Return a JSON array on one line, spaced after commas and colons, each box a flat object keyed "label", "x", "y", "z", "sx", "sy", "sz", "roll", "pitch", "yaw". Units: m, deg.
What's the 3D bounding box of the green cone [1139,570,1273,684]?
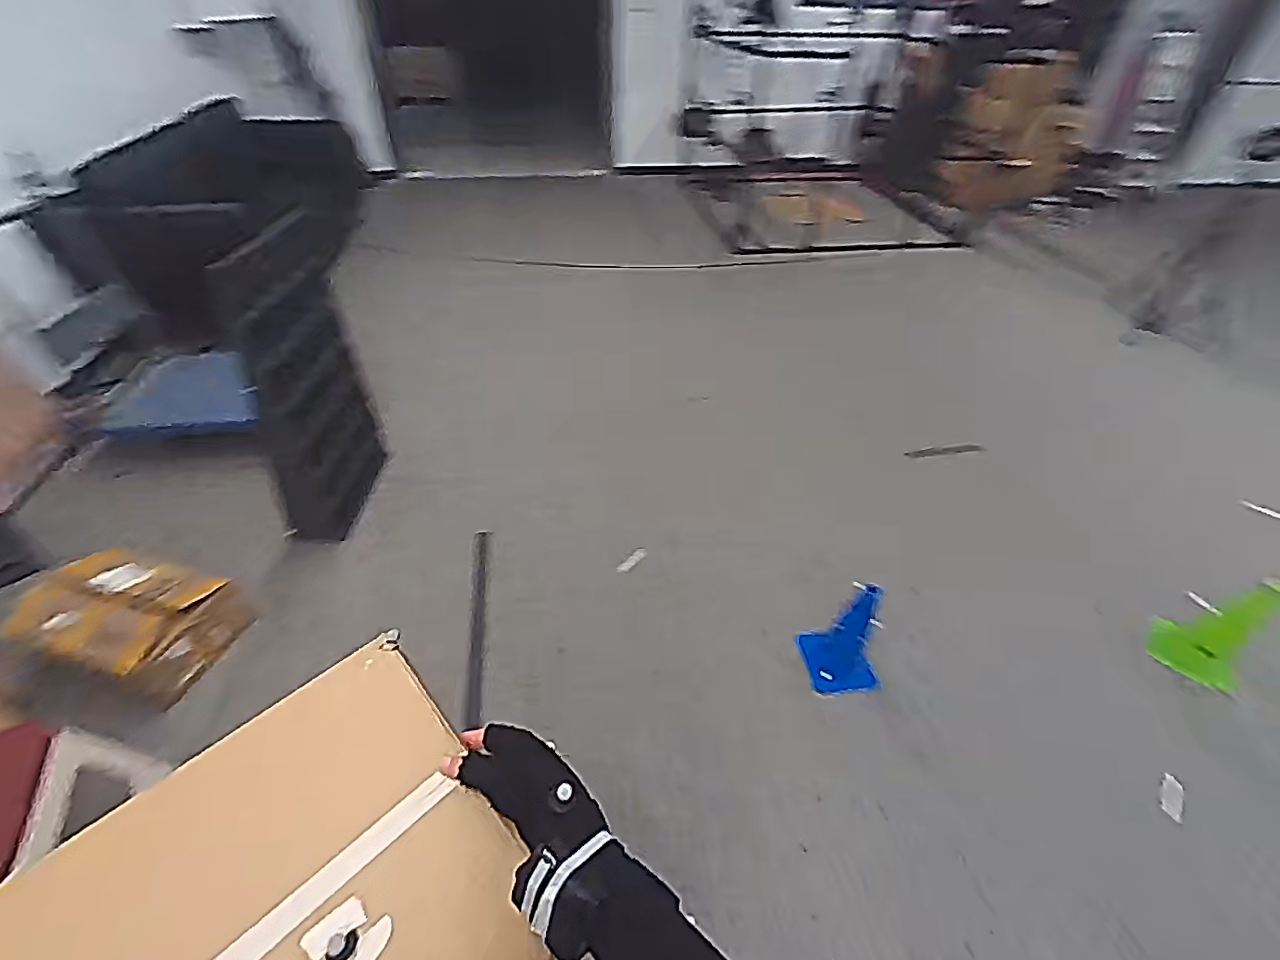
[{"label": "green cone", "x": 1.717, "y": 0.397, "z": 1.600, "sx": 0.202, "sy": 0.368, "sz": 0.200, "roll": 31, "pitch": 49, "yaw": 30}]

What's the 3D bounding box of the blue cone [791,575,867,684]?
[{"label": "blue cone", "x": 0.586, "y": 0.414, "z": 1.559, "sx": 0.193, "sy": 0.380, "sz": 0.192, "roll": -3, "pitch": 41, "yaw": -6}]

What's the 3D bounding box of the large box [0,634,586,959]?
[{"label": "large box", "x": -0.305, "y": 0.438, "z": 0.515, "sx": 0.408, "sy": 0.320, "sz": 0.320, "roll": -32, "pitch": 64, "yaw": -29}]
